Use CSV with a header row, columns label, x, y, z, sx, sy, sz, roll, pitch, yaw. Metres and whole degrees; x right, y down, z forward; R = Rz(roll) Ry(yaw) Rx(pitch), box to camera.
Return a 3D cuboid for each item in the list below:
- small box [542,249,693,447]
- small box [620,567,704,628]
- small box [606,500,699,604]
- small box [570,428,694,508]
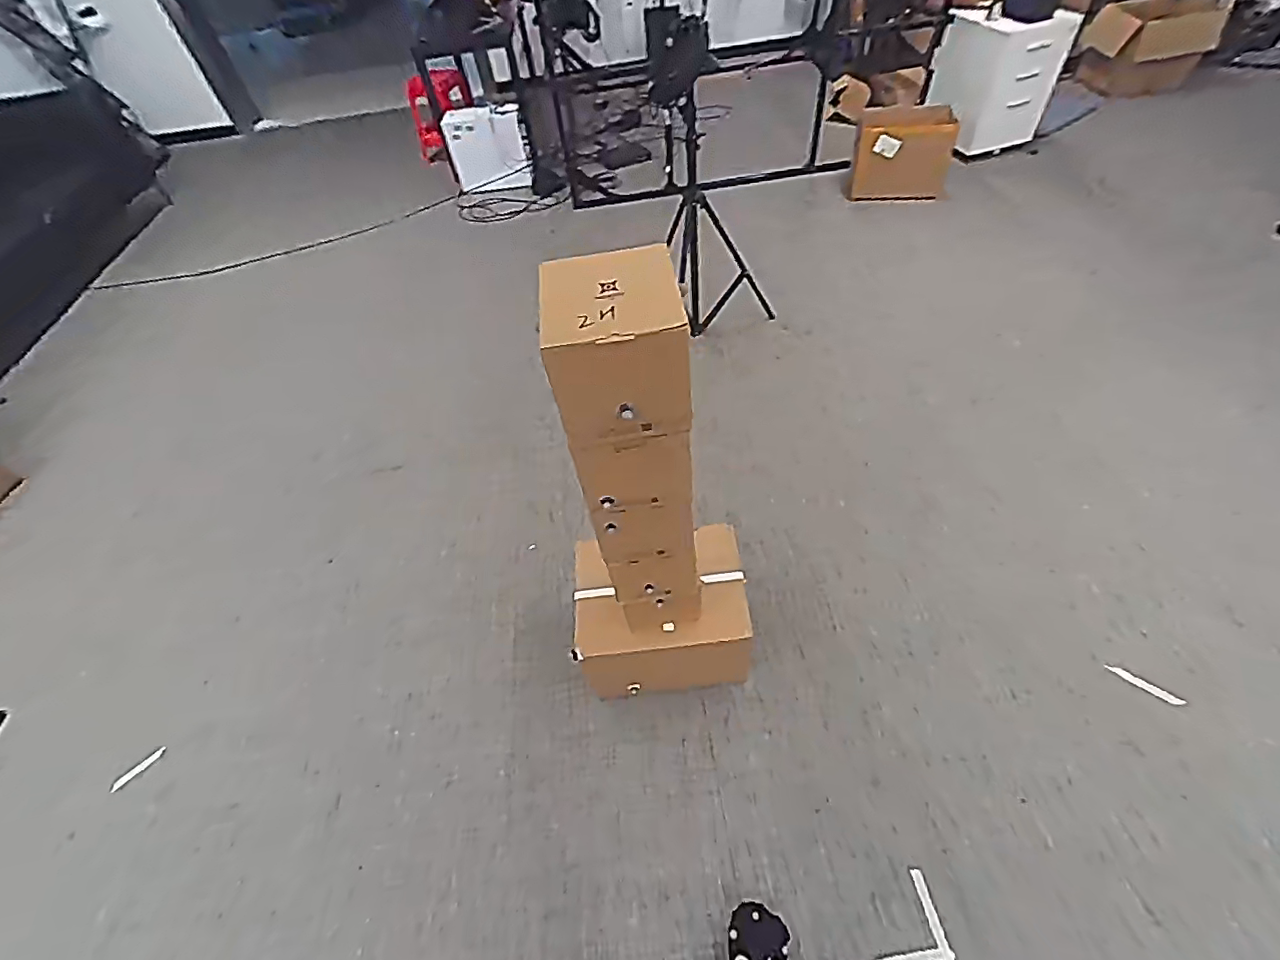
label,x,y,z,sx,sy,sz,roll,pitch,yaw
small box,-0.026,-0.167,0.700,0.168,0.176,0.179,-9,53,1
small box,0.045,0.221,1.223,0.179,0.176,0.168,-9,52,0
small box,0.024,0.129,1.091,0.168,0.176,0.179,-8,53,1
small box,-0.009,-0.069,0.831,0.168,0.176,0.179,-7,52,2
